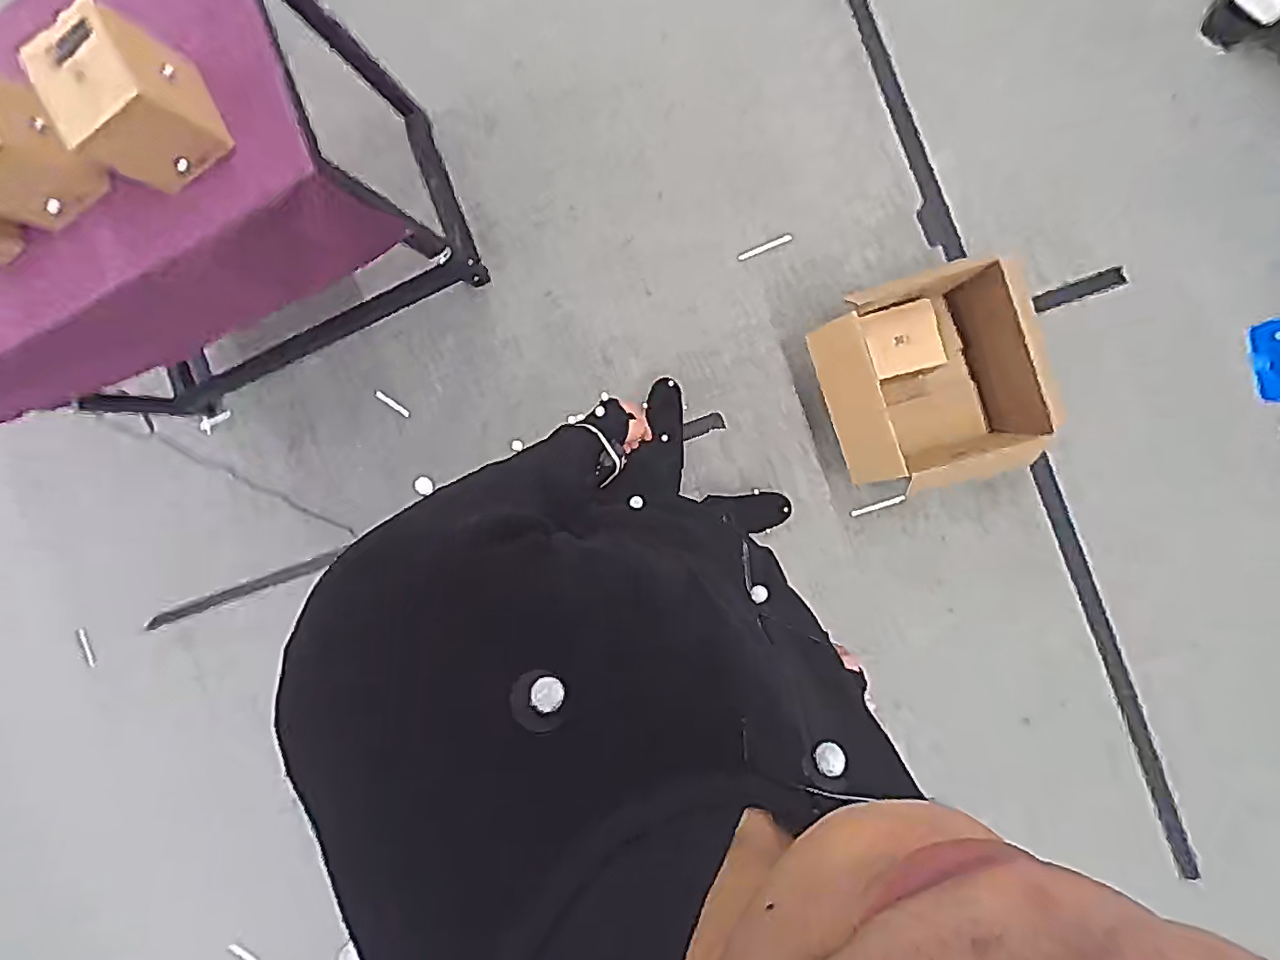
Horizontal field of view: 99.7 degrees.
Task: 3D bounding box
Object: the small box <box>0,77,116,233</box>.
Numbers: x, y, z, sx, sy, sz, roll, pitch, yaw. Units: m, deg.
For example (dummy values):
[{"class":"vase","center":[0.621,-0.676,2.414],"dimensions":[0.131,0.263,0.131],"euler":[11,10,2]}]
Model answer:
[{"class":"small box","center":[-1.149,-0.600,1.003],"dimensions":[0.168,0.176,0.179],"euler":[-26,89,11]}]
